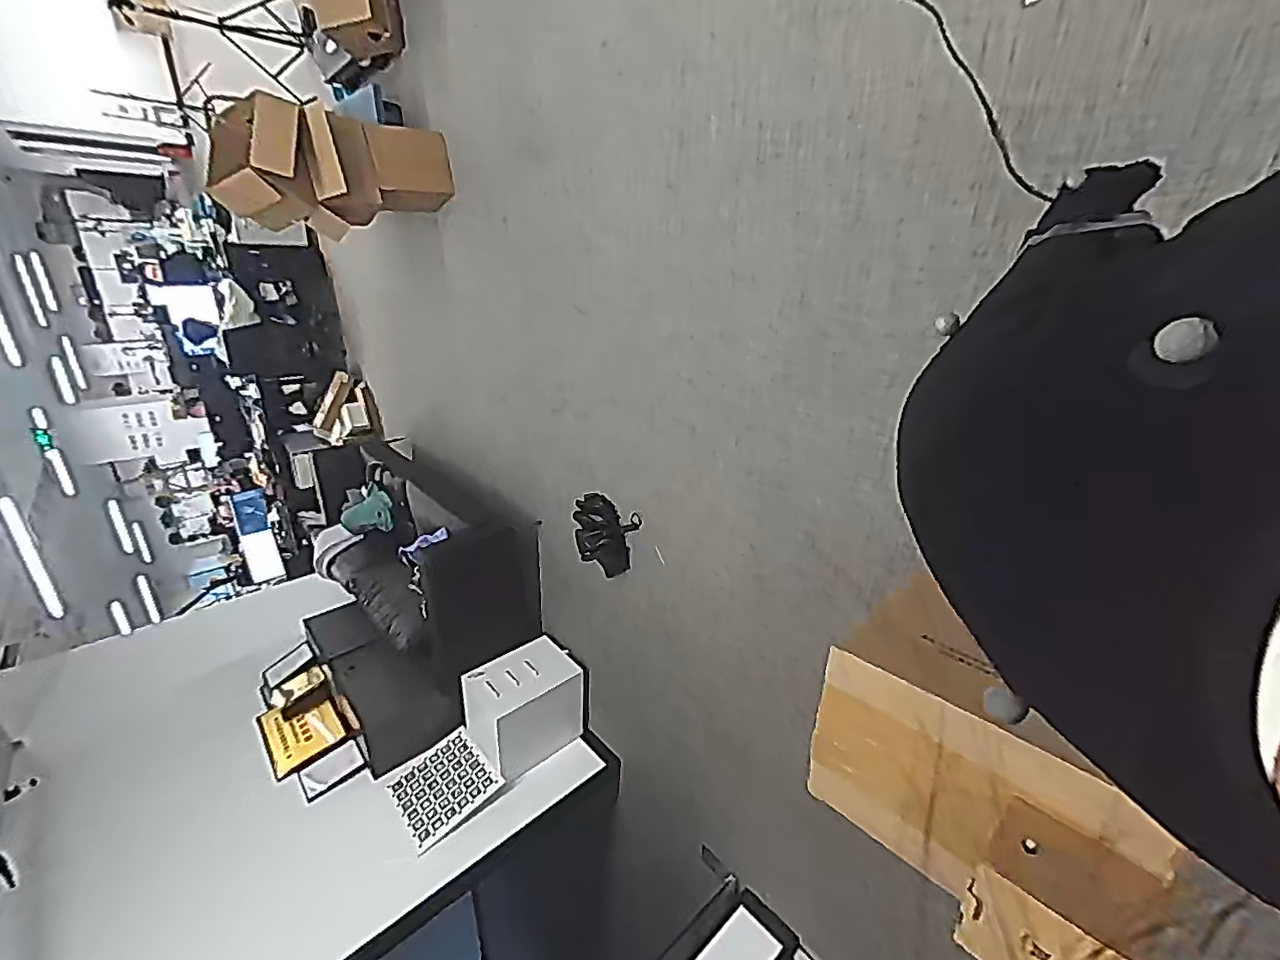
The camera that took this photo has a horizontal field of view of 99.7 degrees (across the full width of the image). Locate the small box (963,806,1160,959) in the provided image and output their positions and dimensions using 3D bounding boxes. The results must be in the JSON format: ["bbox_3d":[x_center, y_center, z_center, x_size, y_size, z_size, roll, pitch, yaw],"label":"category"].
[{"bbox_3d":[0.598,0.610,0.771,0.179,0.176,0.168,19,114,43],"label":"small box"}]
